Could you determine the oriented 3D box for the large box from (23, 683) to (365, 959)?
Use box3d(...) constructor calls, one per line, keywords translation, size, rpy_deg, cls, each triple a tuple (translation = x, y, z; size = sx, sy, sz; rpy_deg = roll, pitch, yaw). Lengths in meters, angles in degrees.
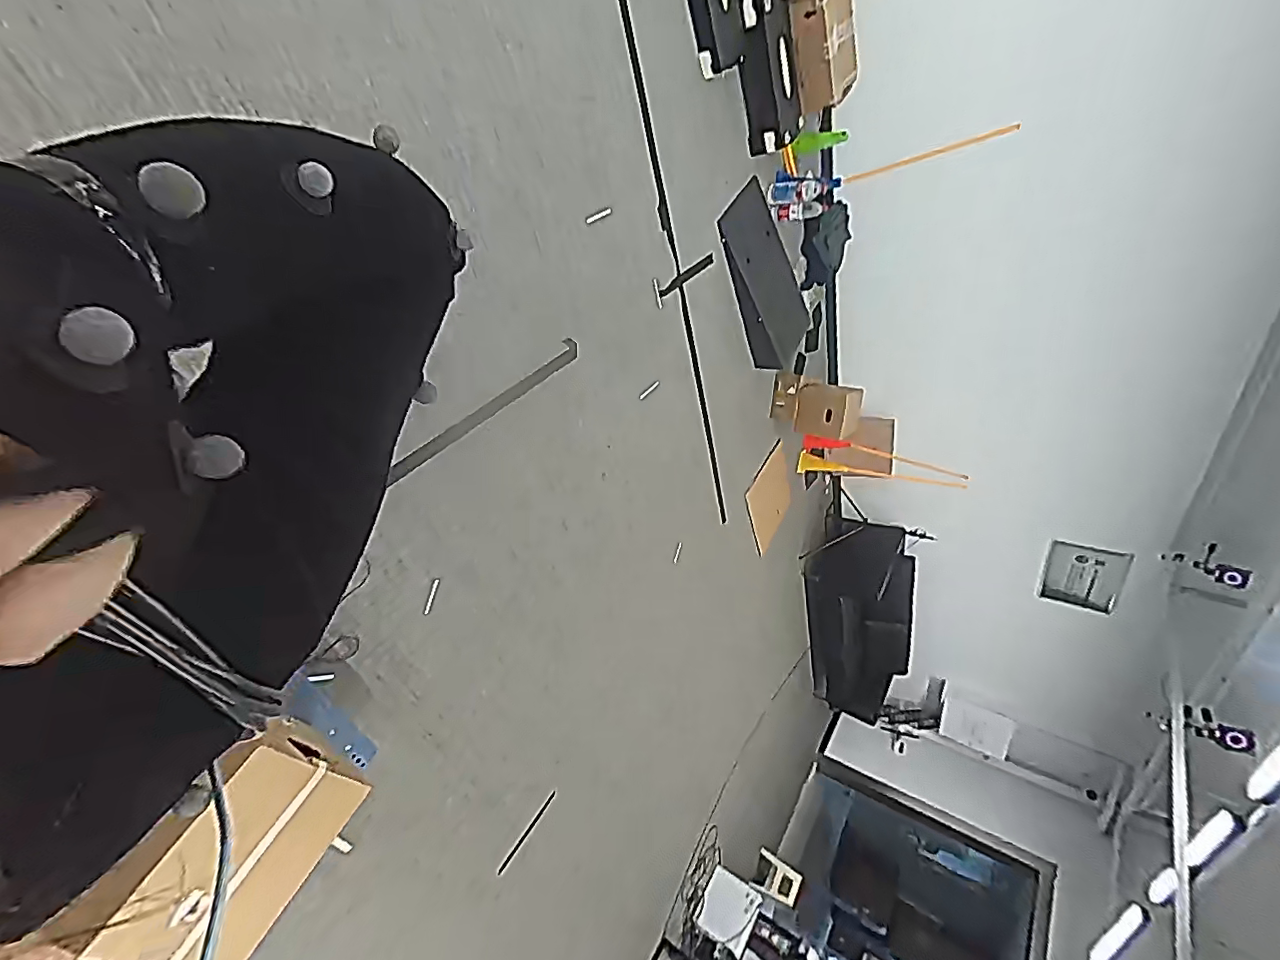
box3d(translation=(-0.879, 0.705, 1.104), size=(0.408, 0.320, 0.320), rpy_deg=(-56, 139, -27), cls="large box")
